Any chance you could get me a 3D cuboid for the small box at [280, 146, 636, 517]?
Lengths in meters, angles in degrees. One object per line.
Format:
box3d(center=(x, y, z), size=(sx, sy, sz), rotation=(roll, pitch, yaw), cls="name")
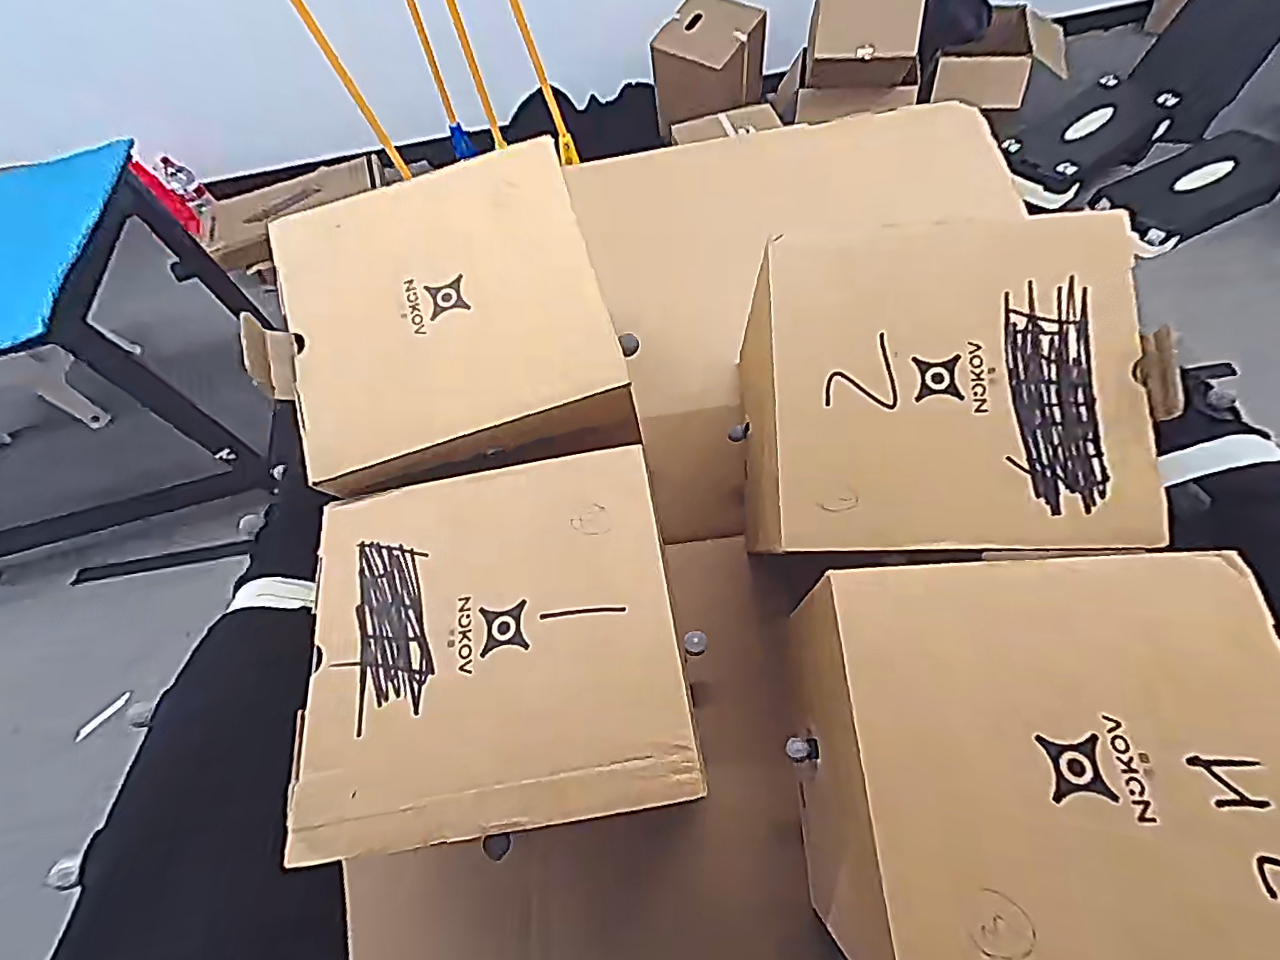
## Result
box3d(center=(-0.107, -0.084, 0.386), size=(0.179, 0.176, 0.168), rotation=(-18, 76, 1), cls="small box")
